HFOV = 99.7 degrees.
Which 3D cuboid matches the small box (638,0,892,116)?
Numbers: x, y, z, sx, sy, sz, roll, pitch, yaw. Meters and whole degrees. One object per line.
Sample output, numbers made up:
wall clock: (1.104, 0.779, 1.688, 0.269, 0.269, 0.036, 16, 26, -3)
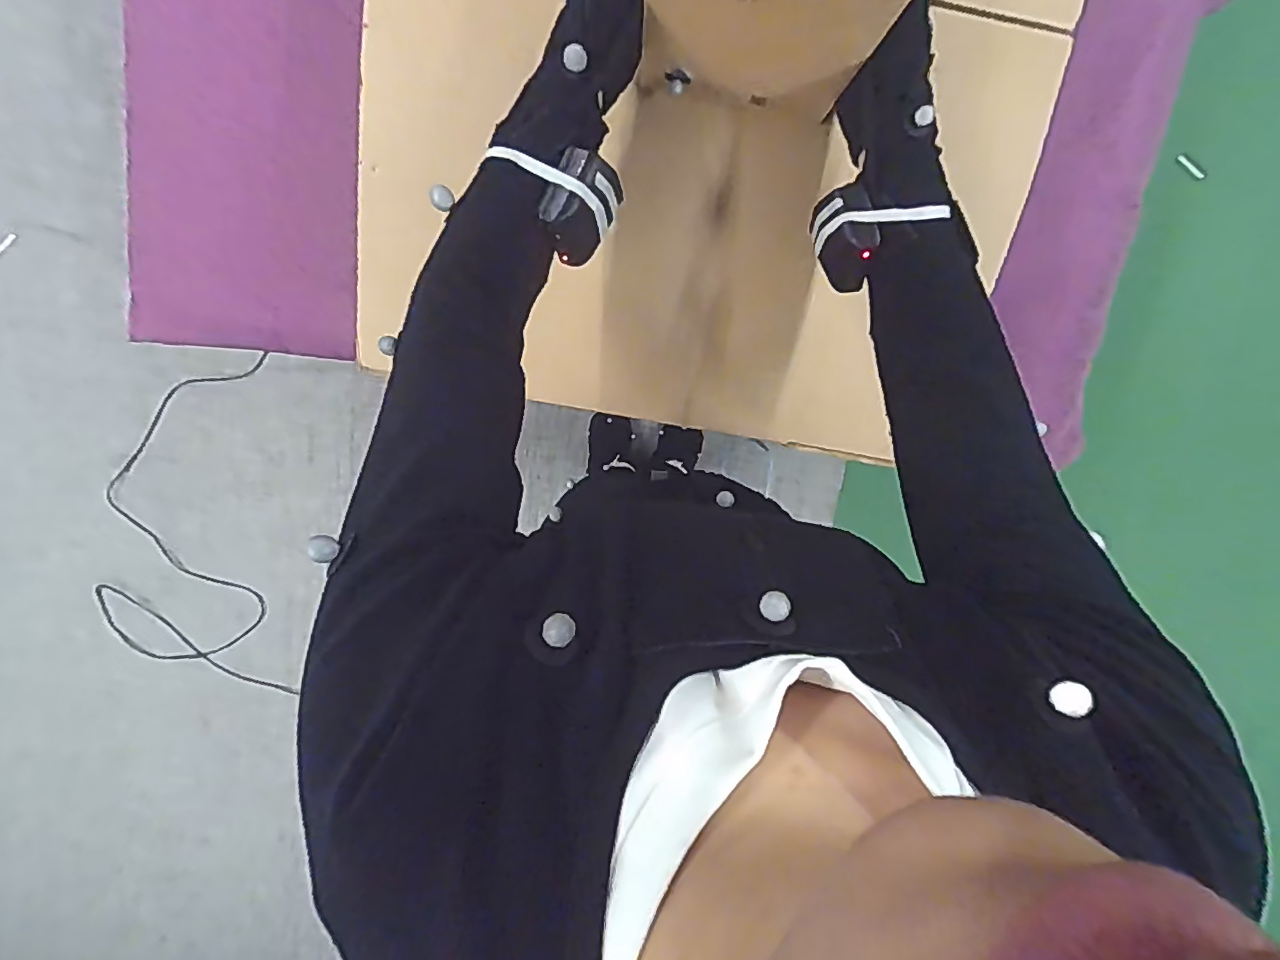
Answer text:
small box: (0.093, -0.402, 0.388, 0.168, 0.176, 0.179, 10, 99, -3)
